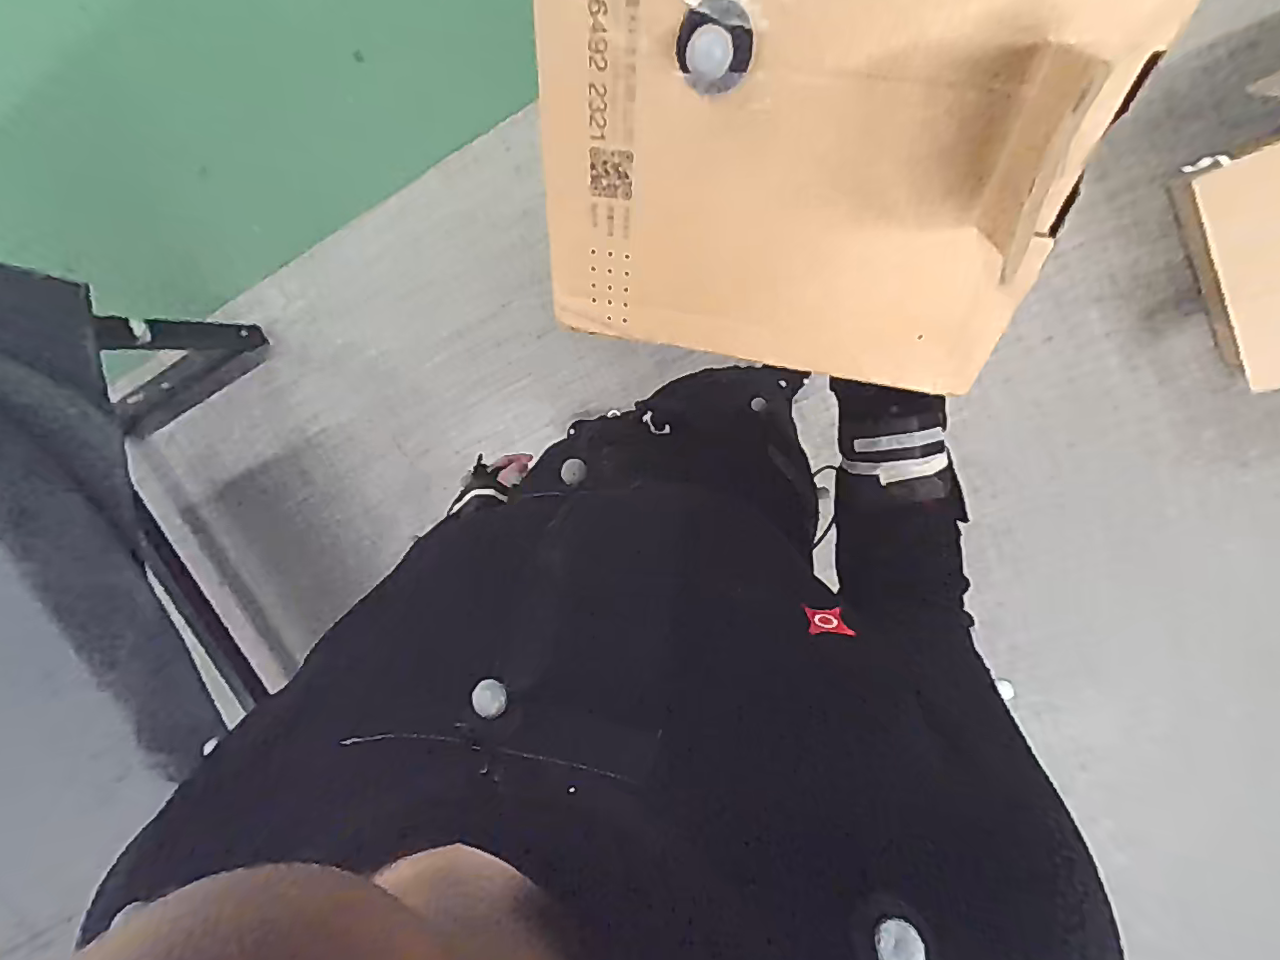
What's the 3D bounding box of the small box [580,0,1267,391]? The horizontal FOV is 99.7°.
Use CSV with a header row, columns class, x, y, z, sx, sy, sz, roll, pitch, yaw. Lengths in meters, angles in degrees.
class,x,y,z,sx,sy,sz,roll,pitch,yaw
small box,0.081,-0.164,0.215,0.176,0.179,0.168,12,136,7
